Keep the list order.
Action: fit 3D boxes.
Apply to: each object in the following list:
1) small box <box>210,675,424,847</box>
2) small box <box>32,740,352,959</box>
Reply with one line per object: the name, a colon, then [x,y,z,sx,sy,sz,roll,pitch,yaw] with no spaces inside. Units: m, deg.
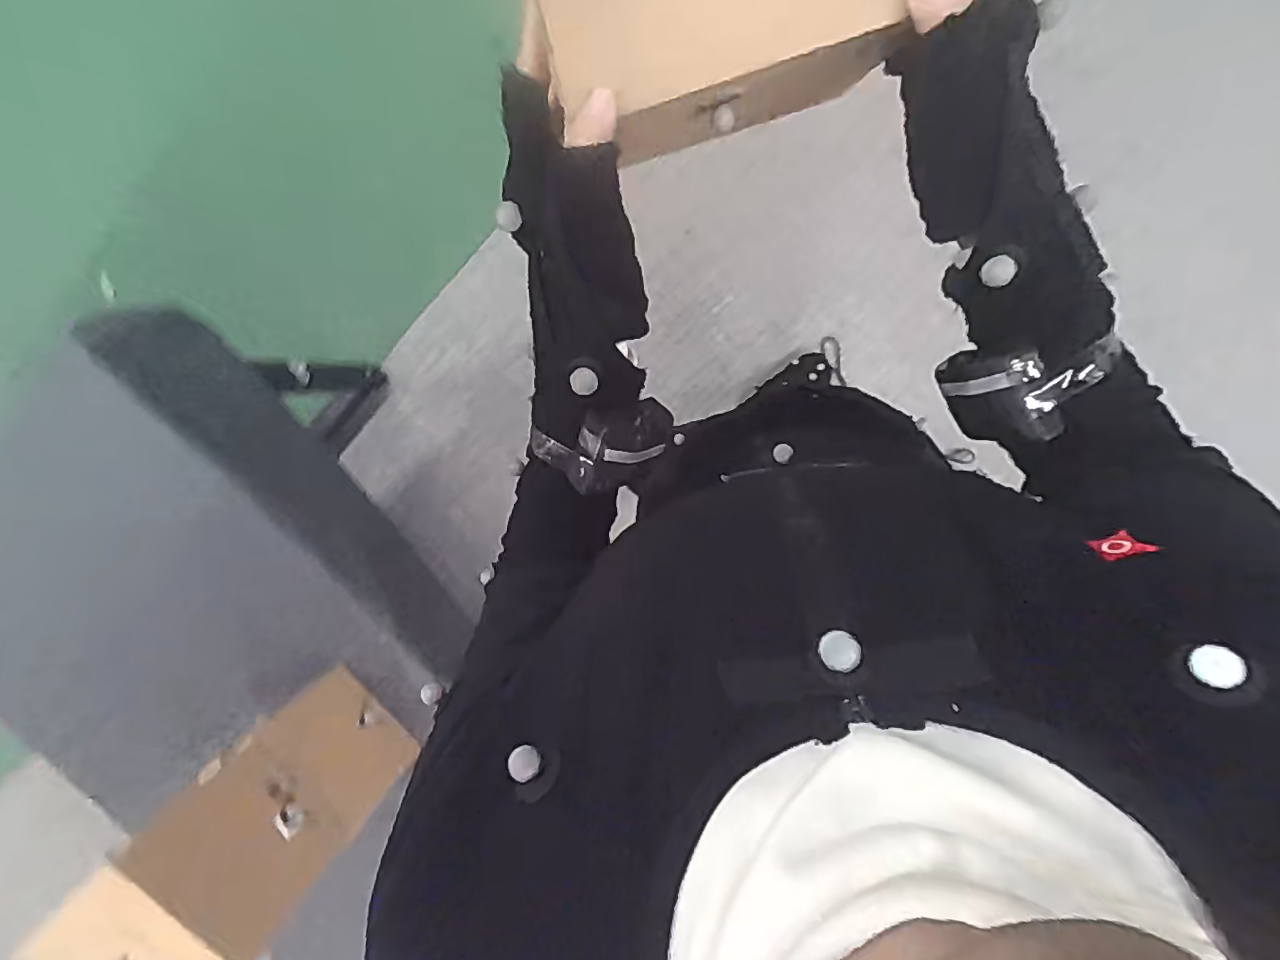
small box: [-0.442,0.397,0.742,0.168,0.176,0.179,-43,93,12]
small box: [-0.459,0.432,0.584,0.168,0.176,0.179,44,101,-5]
